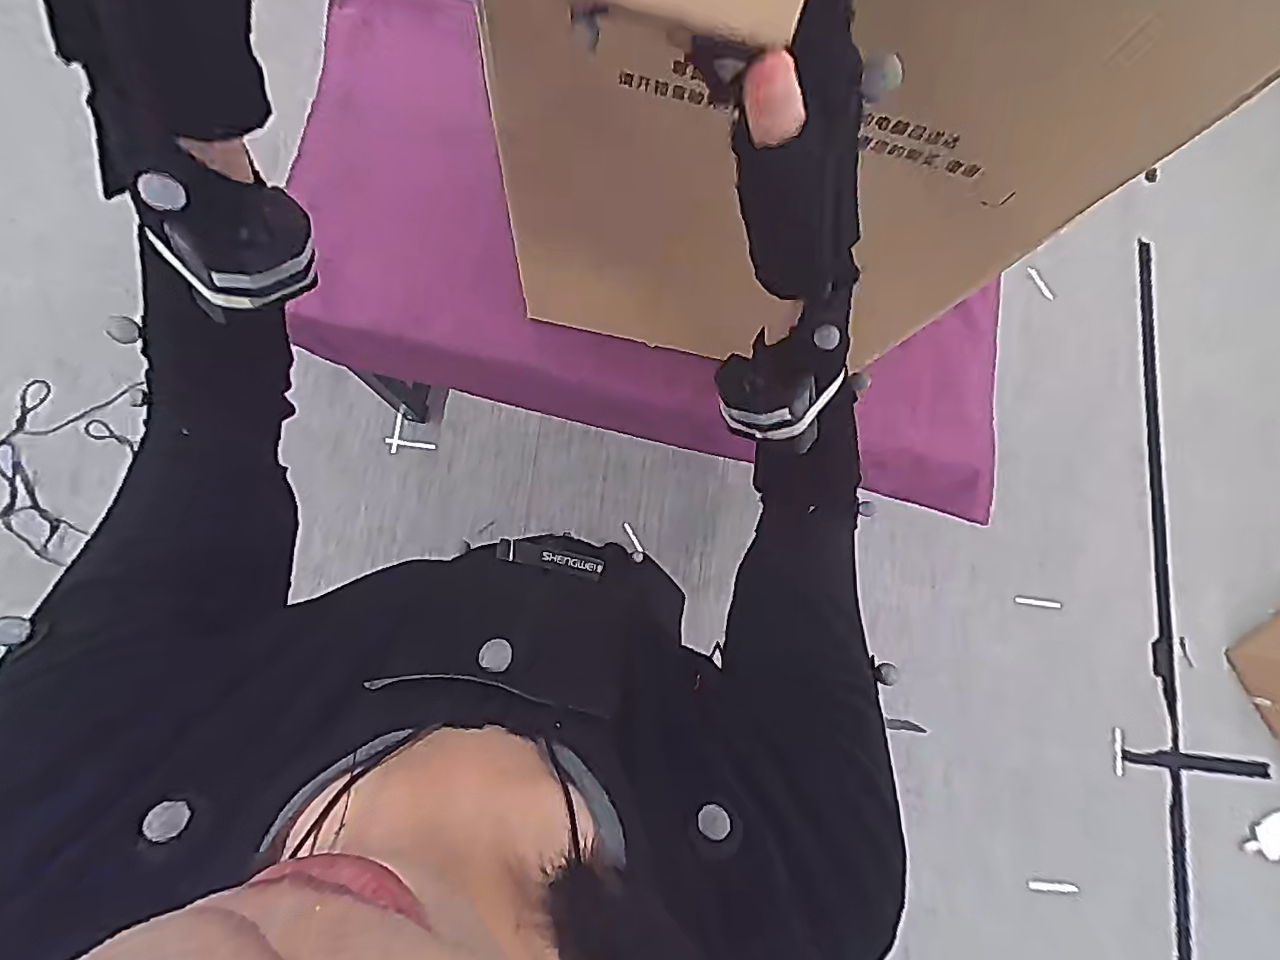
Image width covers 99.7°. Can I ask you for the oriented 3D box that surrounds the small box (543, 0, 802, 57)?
[{"bbox_3d":[-0.046,-0.235,0.134,0.179,0.168,0.176,-6,43,-23],"label":"small box"}]
